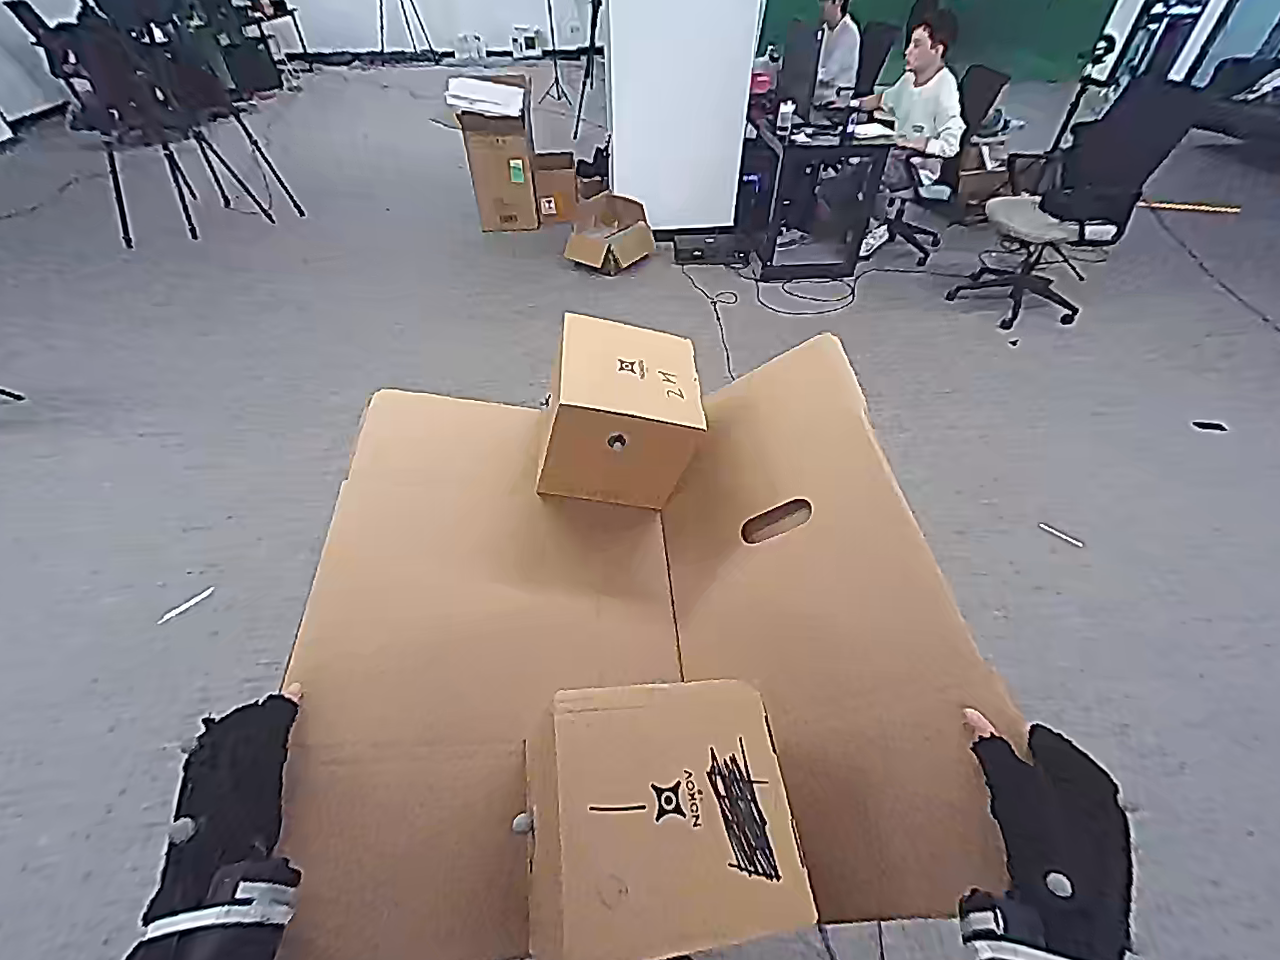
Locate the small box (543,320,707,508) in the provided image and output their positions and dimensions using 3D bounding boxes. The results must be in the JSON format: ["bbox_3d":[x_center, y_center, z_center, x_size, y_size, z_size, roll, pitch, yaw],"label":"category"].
[{"bbox_3d":[-0.028,-0.079,0.720,0.179,0.176,0.168,10,51,-15],"label":"small box"}]
